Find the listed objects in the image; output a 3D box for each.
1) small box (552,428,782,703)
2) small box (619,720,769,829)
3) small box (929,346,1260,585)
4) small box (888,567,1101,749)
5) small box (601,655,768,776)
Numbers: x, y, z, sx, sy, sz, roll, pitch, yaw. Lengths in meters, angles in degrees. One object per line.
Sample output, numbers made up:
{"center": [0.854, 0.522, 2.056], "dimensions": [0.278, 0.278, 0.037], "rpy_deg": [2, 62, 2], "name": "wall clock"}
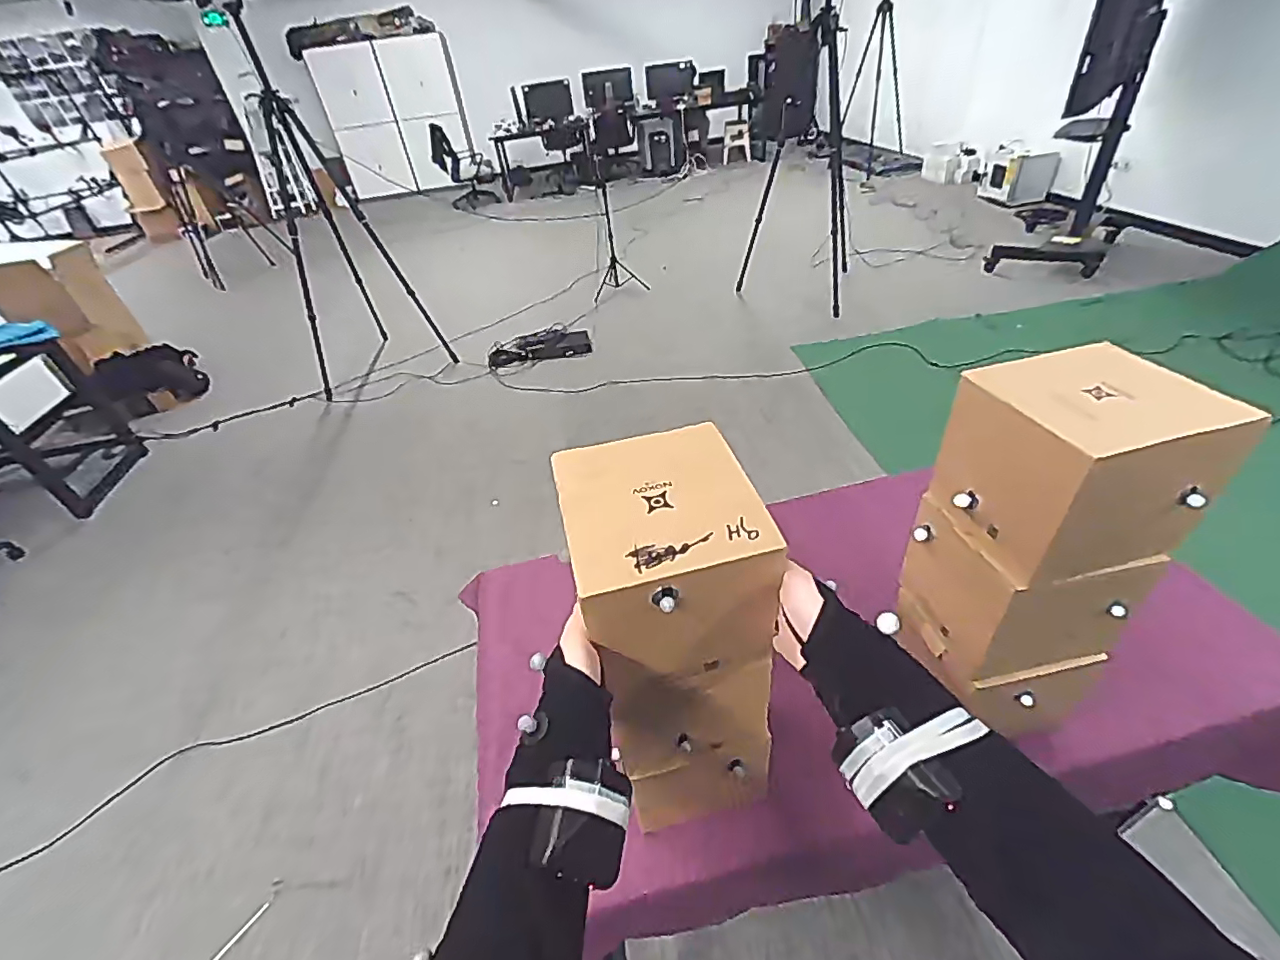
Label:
{"center": [0.018, 0.078, 0.518], "dimensions": [0.168, 0.176, 0.179], "rpy_deg": [-13, 42, -7], "name": "small box"}
{"center": [0.058, 0.334, 0.729], "dimensions": [0.179, 0.176, 0.168], "rpy_deg": [-13, 39, -6], "name": "small box"}
{"center": [0.442, -0.016, 0.566], "dimensions": [0.179, 0.176, 0.168], "rpy_deg": [-13, 39, -5], "name": "small box"}
{"center": [0.471, 0.248, 0.758], "dimensions": [0.179, 0.176, 0.168], "rpy_deg": [-11, 39, -4], "name": "small box"}
{"center": [0.035, 0.206, 0.630], "dimensions": [0.168, 0.176, 0.179], "rpy_deg": [-13, 40, -6], "name": "small box"}
